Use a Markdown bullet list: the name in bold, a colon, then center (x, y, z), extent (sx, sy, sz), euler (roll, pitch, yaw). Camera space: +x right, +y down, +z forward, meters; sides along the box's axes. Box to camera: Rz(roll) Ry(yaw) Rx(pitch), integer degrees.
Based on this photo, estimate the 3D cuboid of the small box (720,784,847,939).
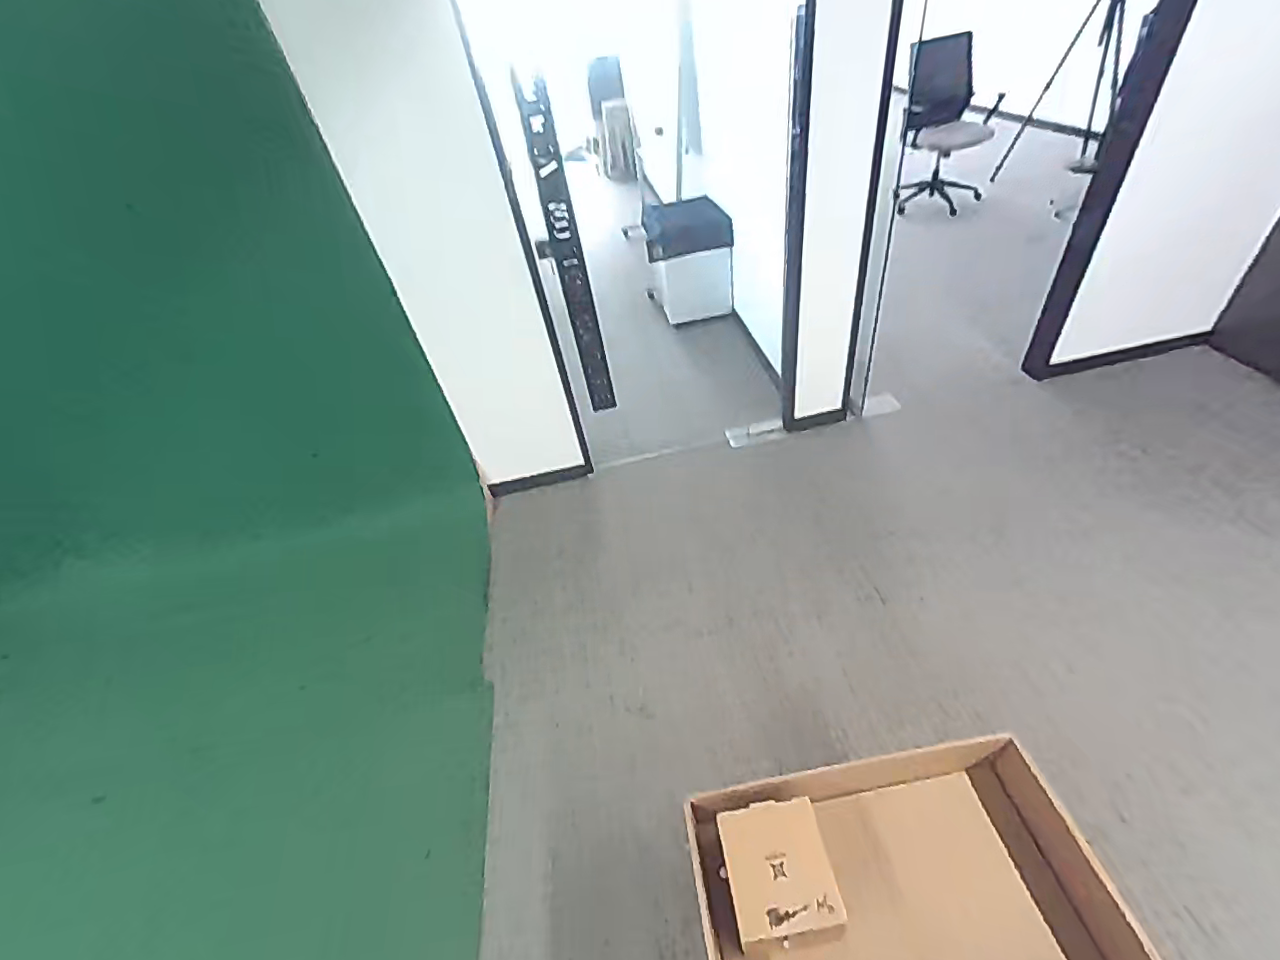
- **small box**: center (0.235, 0.655, 0.928), extent (0.168, 0.176, 0.179), euler (-10, 43, 1)
